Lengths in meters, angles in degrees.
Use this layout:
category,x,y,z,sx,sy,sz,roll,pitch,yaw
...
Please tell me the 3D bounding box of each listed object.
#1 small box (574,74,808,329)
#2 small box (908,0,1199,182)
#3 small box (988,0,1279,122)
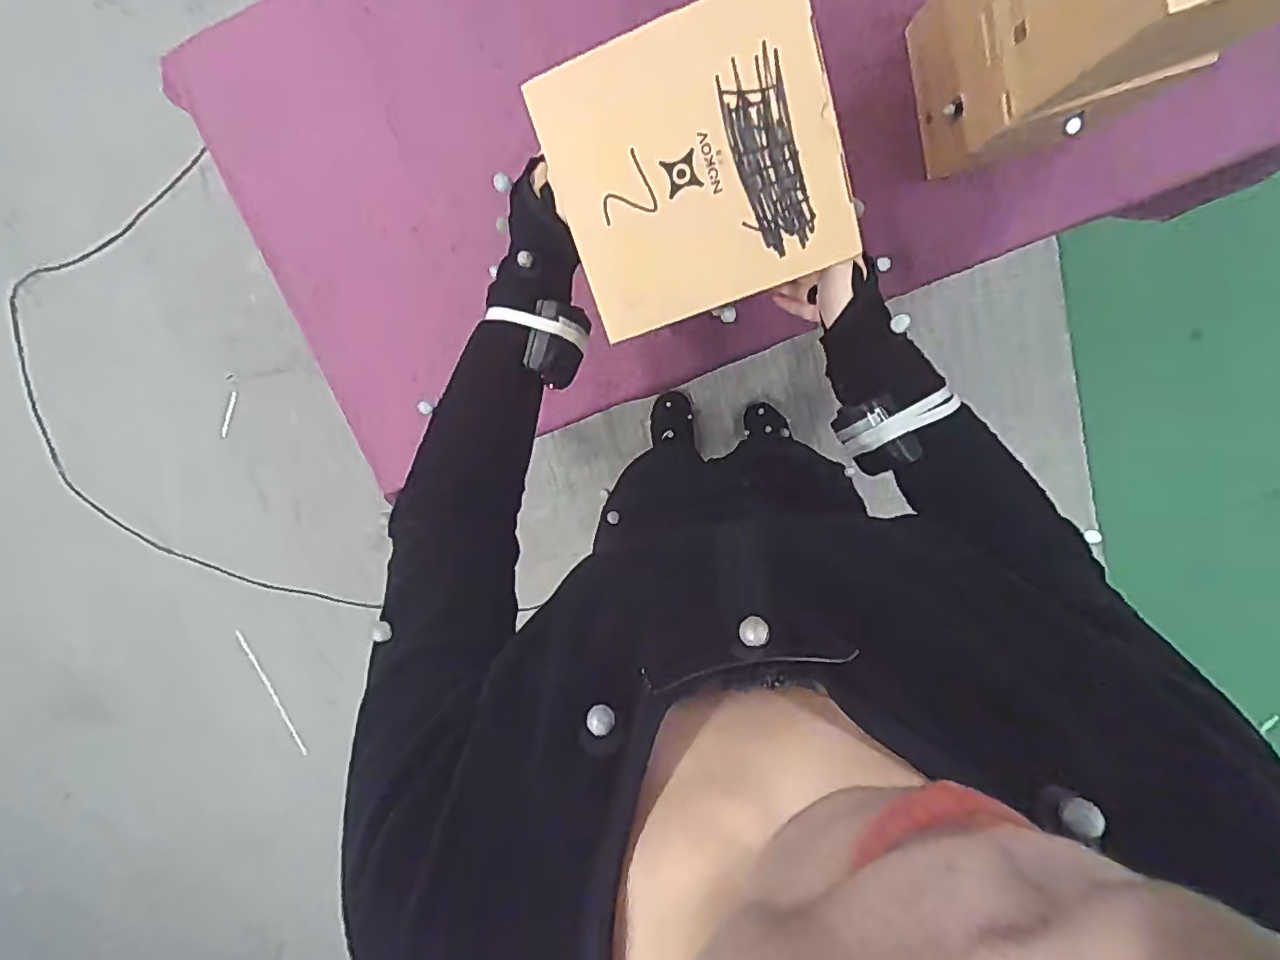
category,x,y,z,sx,sy,sz,roll,pitch,yaw
small box,0.056,-0.269,0.571,0.179,0.176,0.168,-20,104,11
small box,0.392,-0.430,0.546,0.179,0.176,0.168,-14,102,7
small box,0.378,-0.397,0.387,0.179,0.176,0.168,-16,102,8
